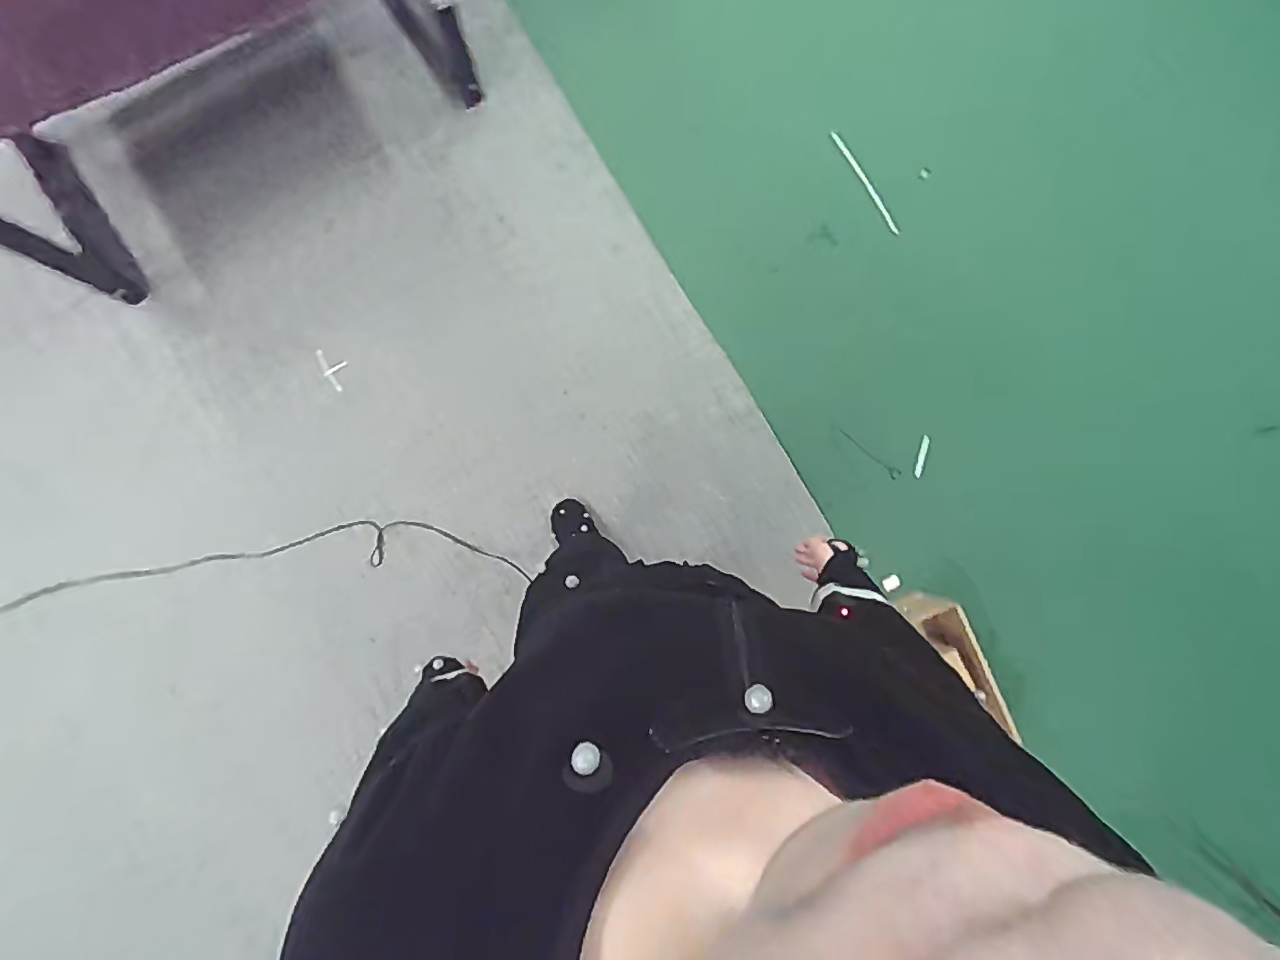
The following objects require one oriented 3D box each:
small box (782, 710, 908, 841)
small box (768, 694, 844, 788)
[{"bbox_3d":[0.435,0.625,1.177,0.168,0.176,0.179,-24,86,-4],"label":"small box"},{"bbox_3d":[0.439,0.653,1.339,0.168,0.176,0.179,-26,84,-3],"label":"small box"}]
